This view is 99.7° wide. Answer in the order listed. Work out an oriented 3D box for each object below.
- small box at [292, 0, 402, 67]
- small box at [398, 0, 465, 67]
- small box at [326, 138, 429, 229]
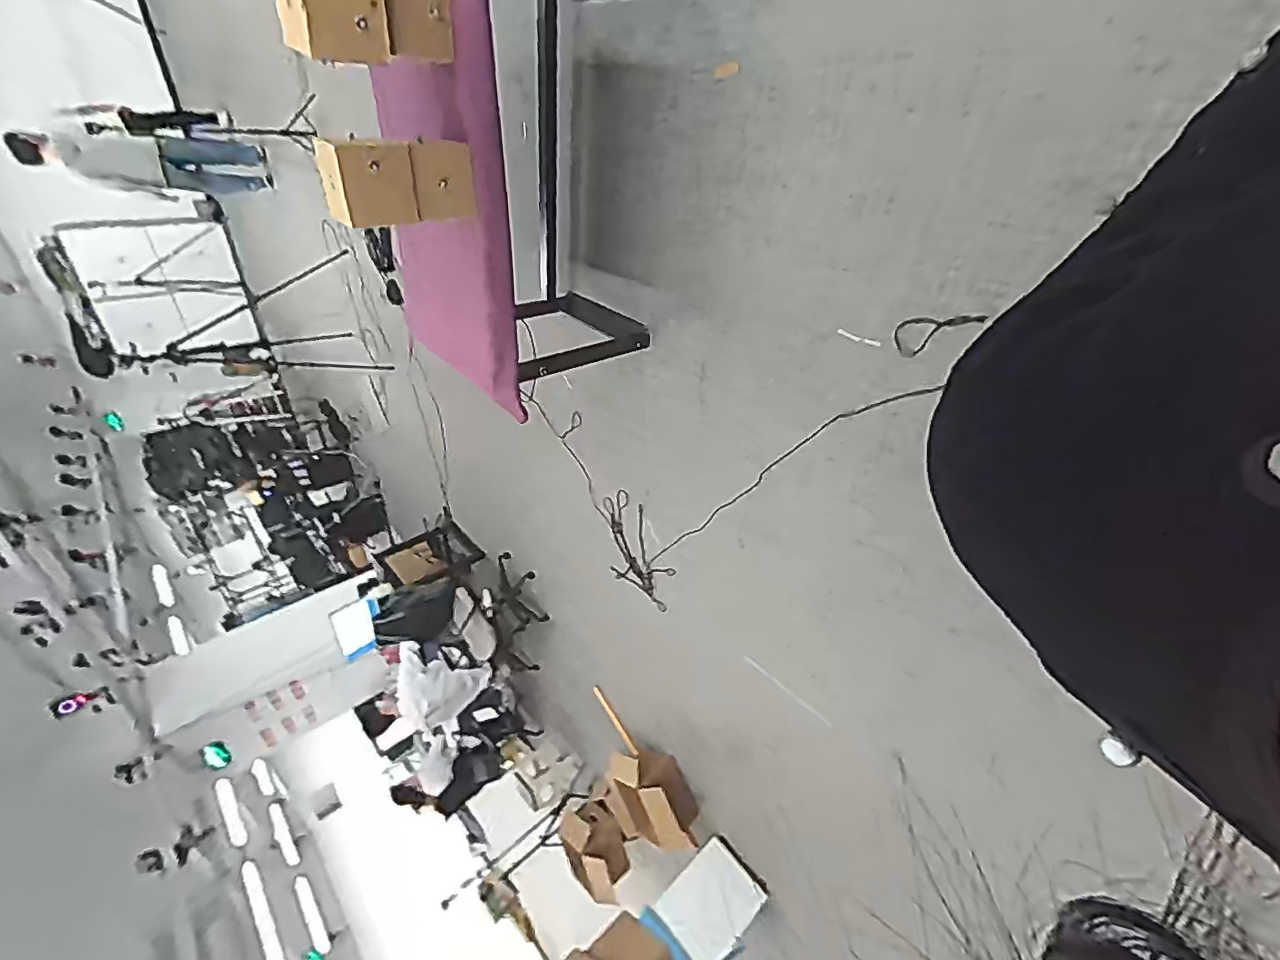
[{"bbox_3d":[-0.640,-1.020,1.176,0.179,0.176,0.168,41,139,30],"label":"small box"},{"bbox_3d":[-0.530,-1.095,1.272,0.168,0.176,0.179,36,135,37],"label":"small box"},{"bbox_3d":[-0.648,-0.740,1.346,0.168,0.176,0.179,37,137,37],"label":"small box"}]
